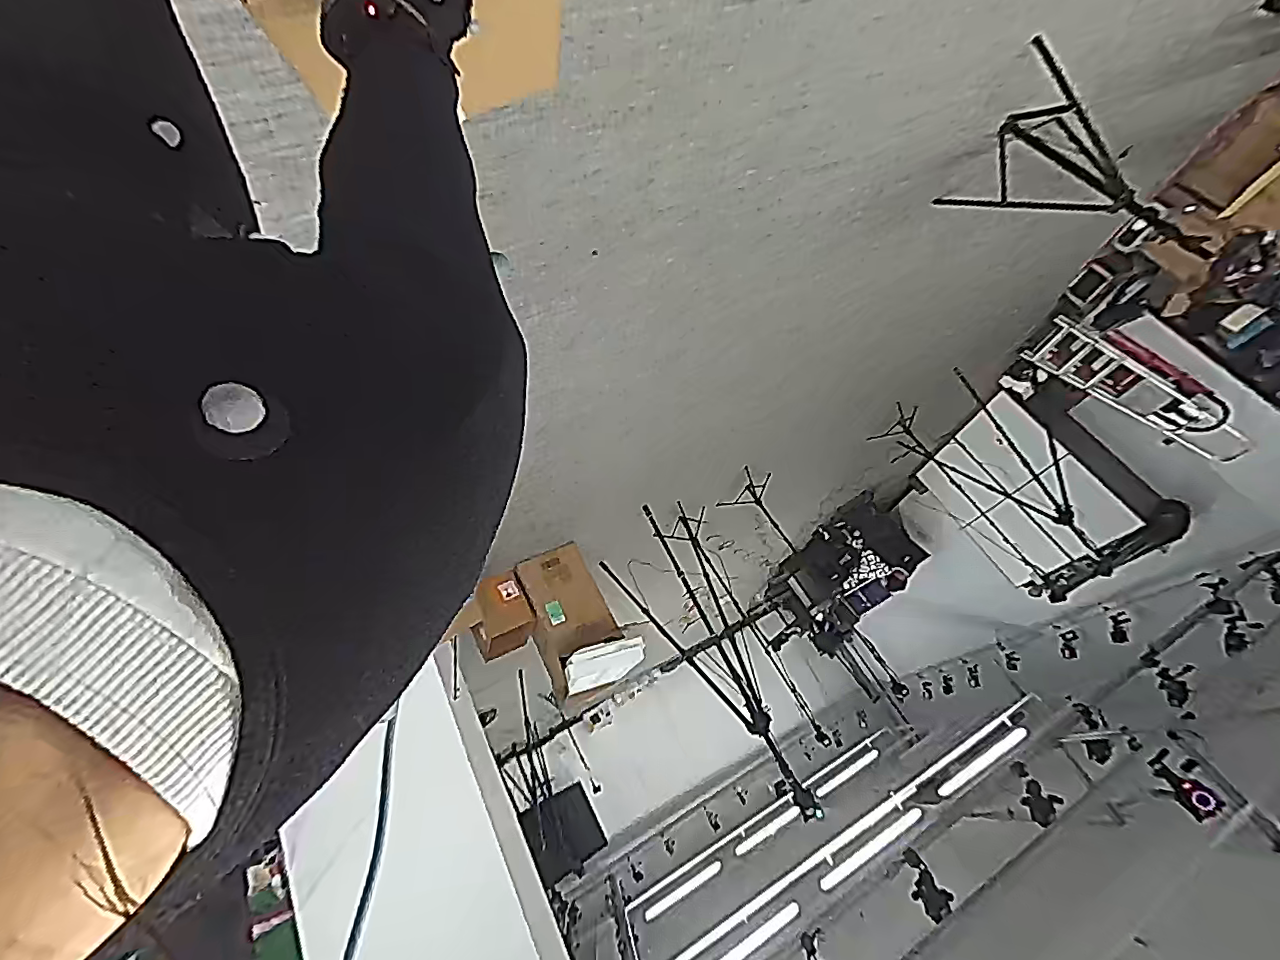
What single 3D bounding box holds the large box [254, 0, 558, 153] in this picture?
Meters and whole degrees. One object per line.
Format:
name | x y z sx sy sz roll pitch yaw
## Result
large box | -0.314 -0.687 0.615 0.320 0.408 0.320 -25 -168 -7
